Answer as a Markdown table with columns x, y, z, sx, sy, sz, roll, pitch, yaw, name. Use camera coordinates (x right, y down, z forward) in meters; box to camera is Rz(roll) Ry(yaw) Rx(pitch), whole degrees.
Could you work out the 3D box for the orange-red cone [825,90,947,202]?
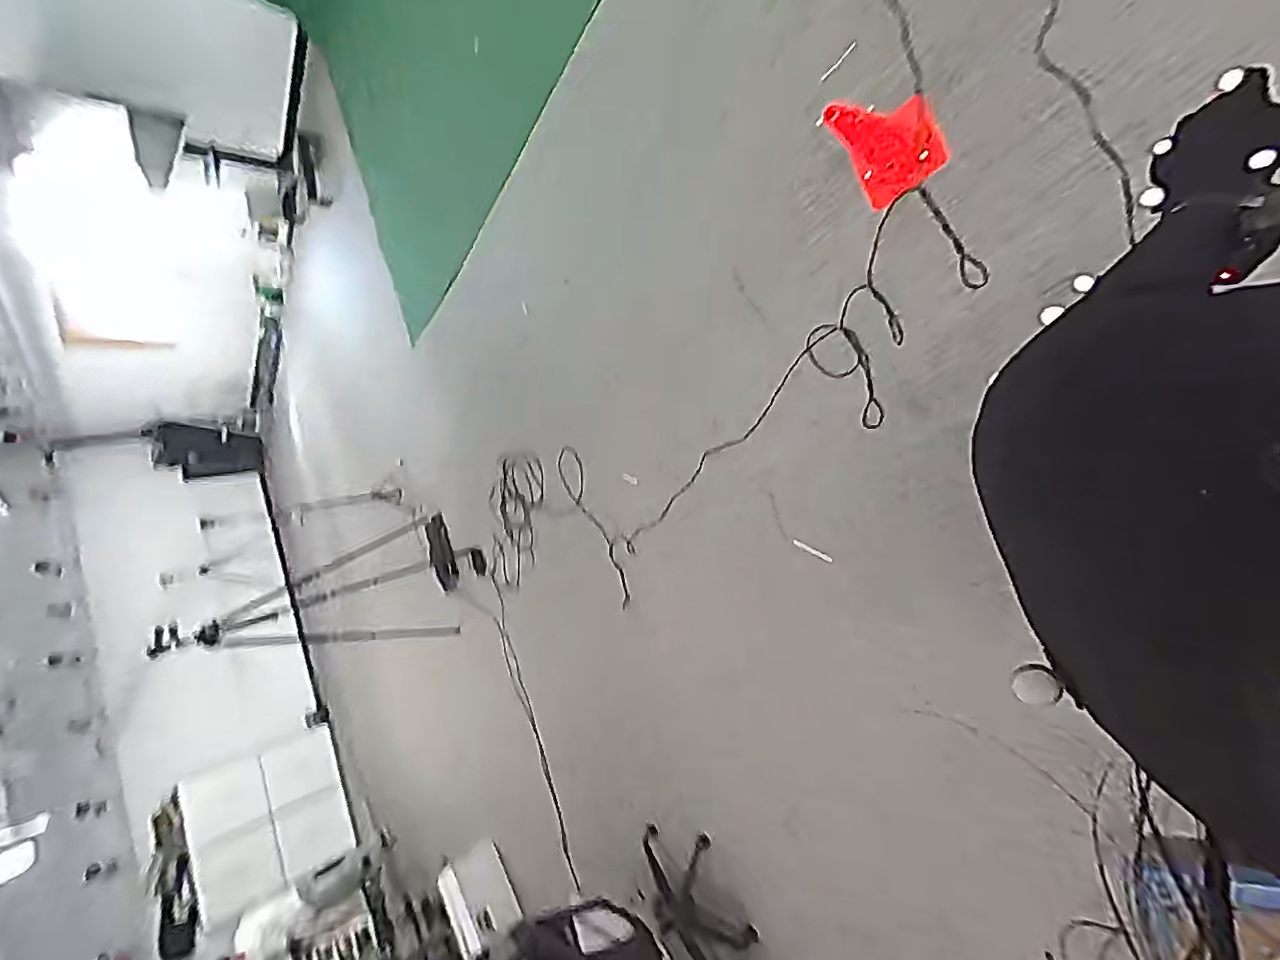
| x | y | z | sx | sy | sz | roll | pitch | yaw | name |
| --- | --- | --- | --- | --- | --- | --- | --- | --- | --- |
| 0.537 | -0.829 | 1.271 | 0.198 | 0.360 | 0.199 | -25 | 79 | 46 | orange-red cone |
